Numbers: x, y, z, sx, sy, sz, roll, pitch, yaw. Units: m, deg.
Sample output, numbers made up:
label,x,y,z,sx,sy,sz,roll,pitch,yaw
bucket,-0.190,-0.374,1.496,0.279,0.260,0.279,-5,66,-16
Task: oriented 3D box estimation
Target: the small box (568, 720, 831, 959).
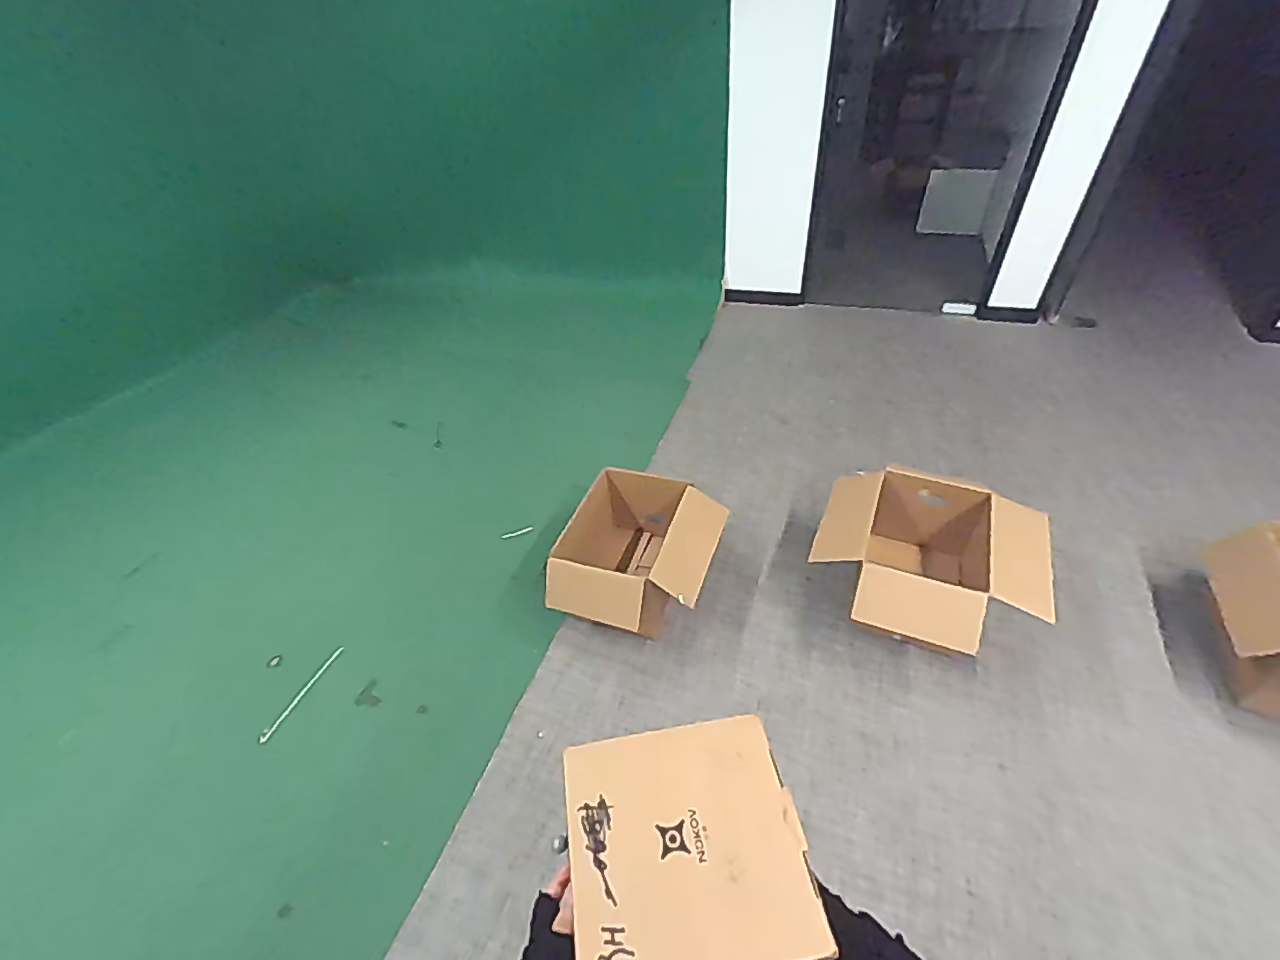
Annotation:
label,x,y,z,sx,sy,sz,roll,pitch,yaw
small box,0.033,0.334,0.467,0.179,0.176,0.168,-5,42,-7
